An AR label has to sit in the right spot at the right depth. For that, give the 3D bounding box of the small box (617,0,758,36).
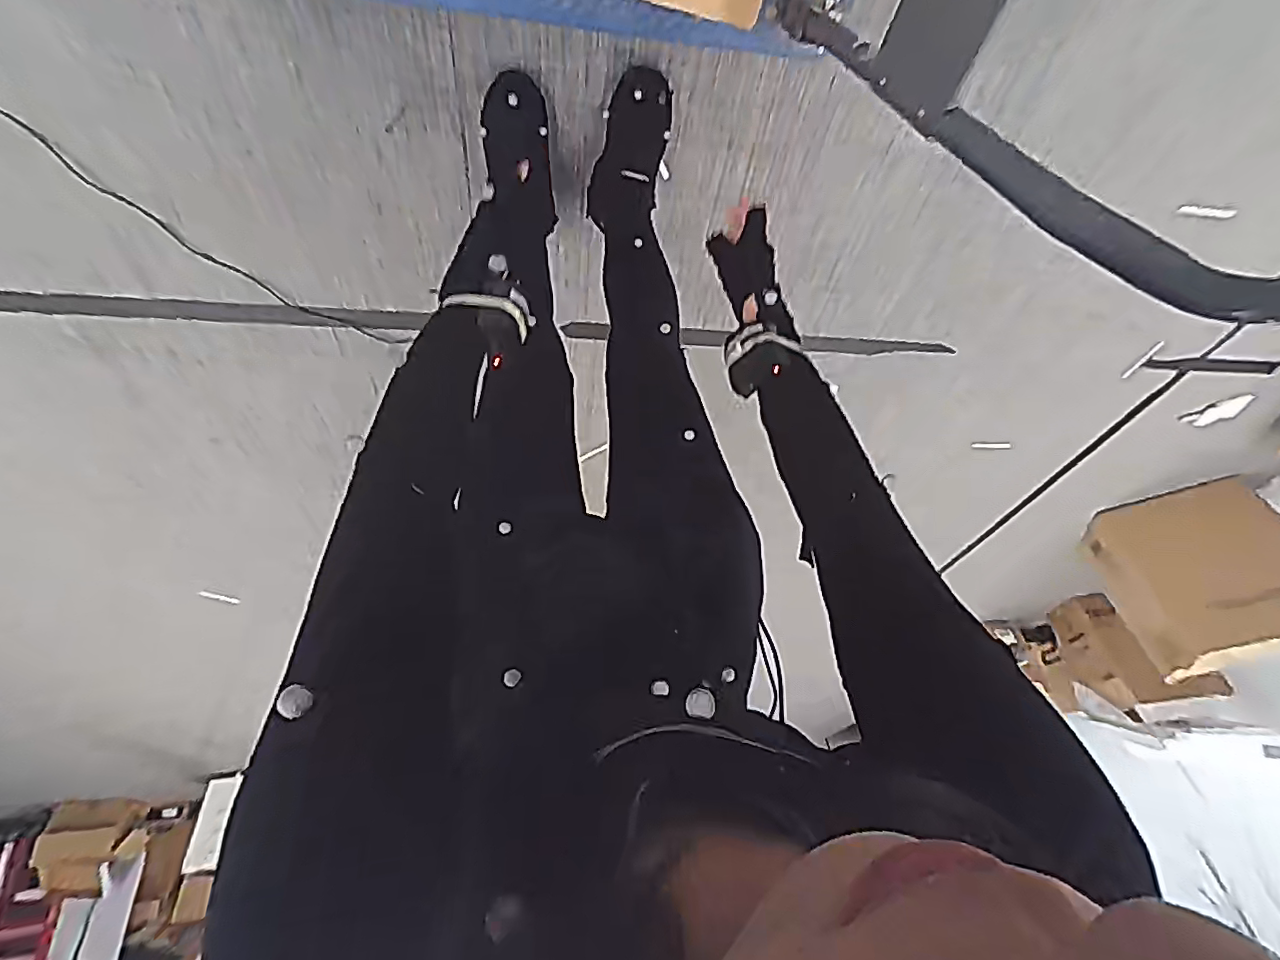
[{"bbox_3d":[0.041,-0.590,0.545,0.179,0.176,0.168,4,139,-14],"label":"small box"}]
